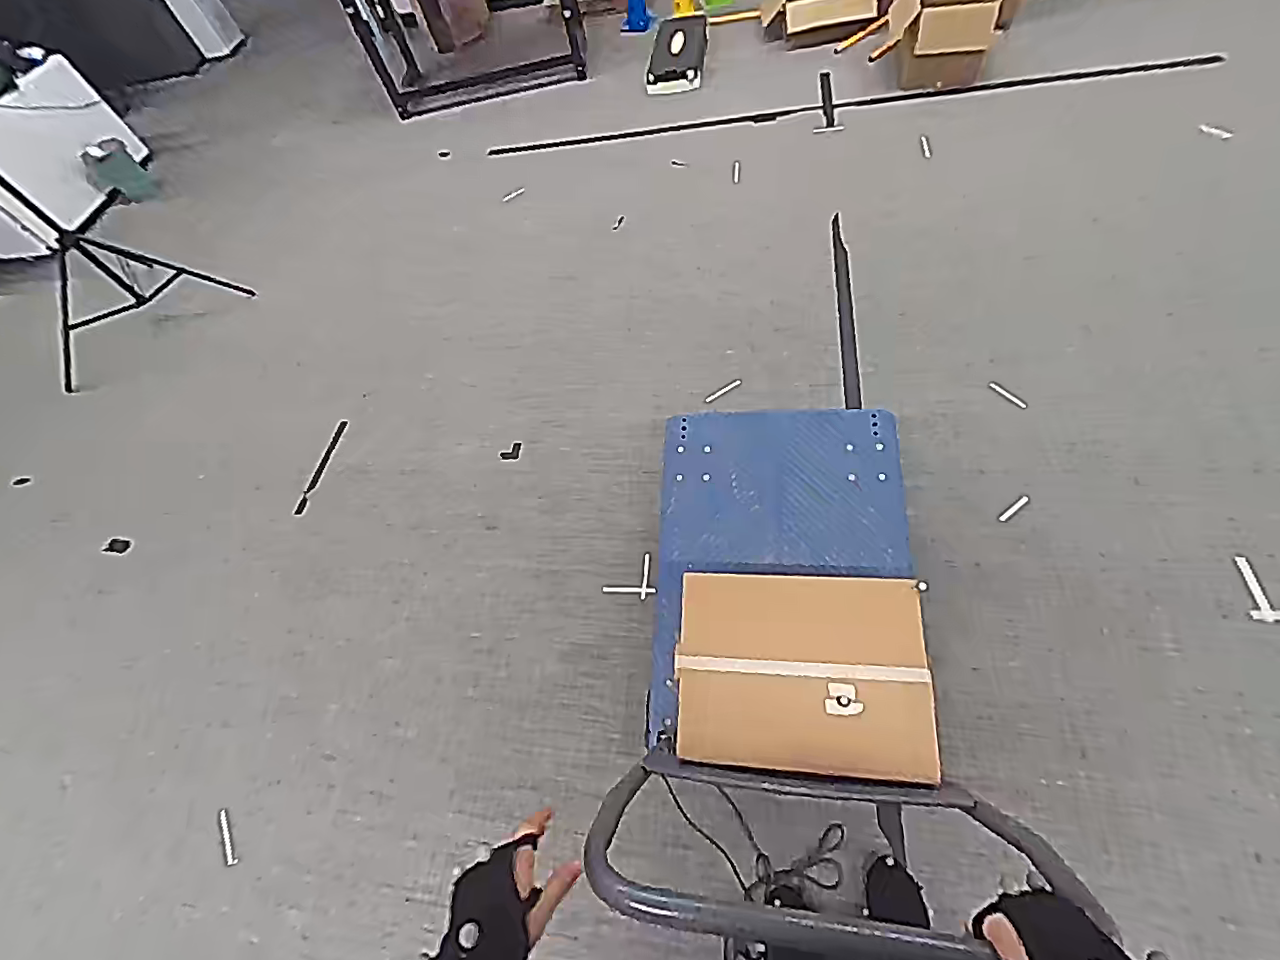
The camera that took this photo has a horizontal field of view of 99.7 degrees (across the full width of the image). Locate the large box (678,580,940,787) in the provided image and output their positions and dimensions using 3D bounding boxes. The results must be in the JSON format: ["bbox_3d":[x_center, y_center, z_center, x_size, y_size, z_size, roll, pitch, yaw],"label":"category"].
[{"bbox_3d":[0.287,0.378,1.033,0.408,0.320,0.320,0,69,10],"label":"large box"}]
